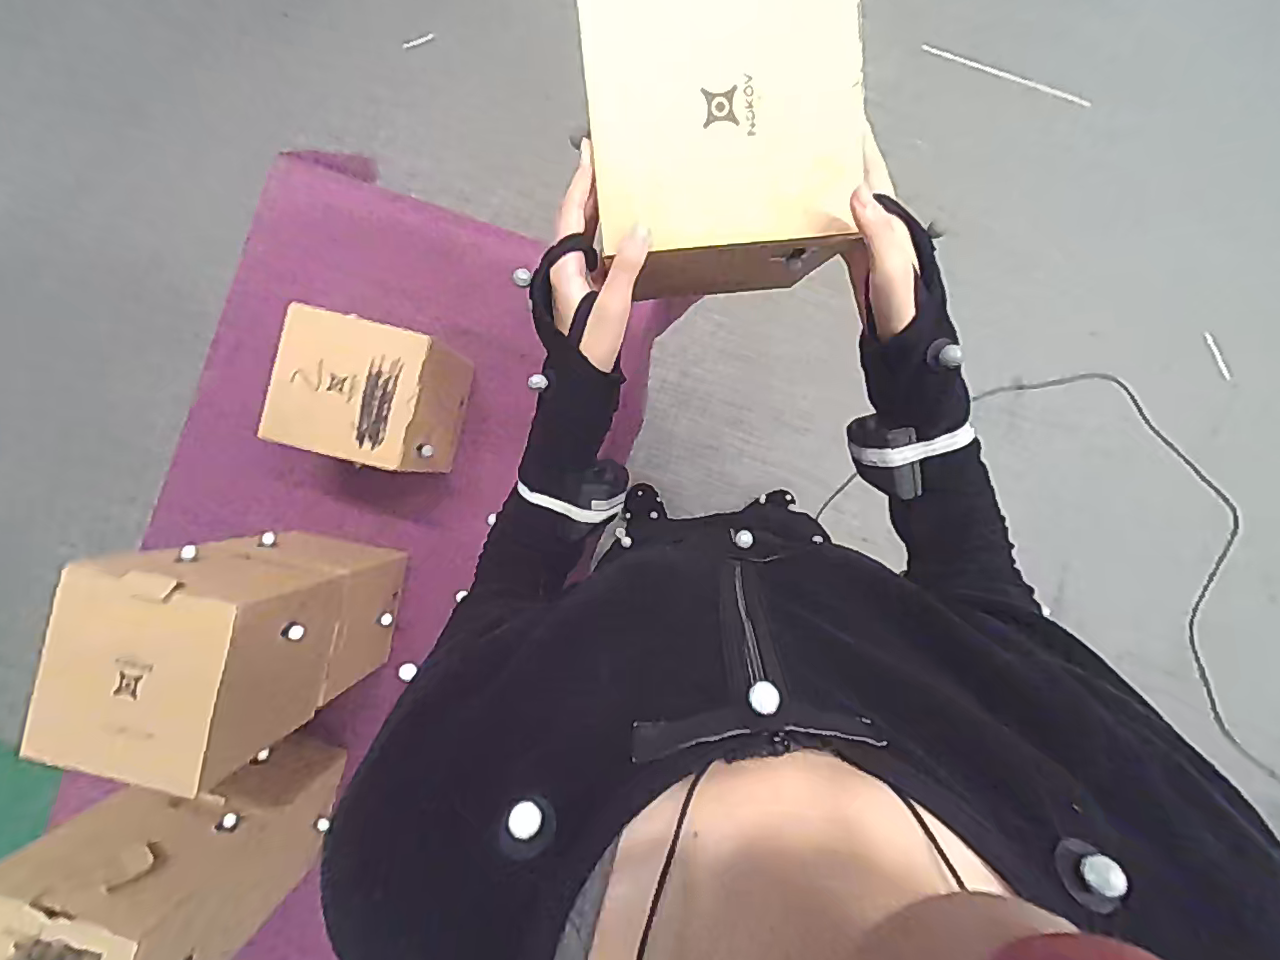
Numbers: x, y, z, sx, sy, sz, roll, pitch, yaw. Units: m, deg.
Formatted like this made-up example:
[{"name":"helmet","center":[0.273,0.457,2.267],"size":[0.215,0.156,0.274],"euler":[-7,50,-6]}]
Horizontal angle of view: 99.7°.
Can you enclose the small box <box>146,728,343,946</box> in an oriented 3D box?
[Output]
[{"name":"small box","center":[-0.536,0.454,0.728],"size":[0.168,0.176,0.179],"euler":[17,90,1]}]

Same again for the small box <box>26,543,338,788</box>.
[{"name":"small box","center":[-0.450,0.172,0.562],"size":[0.168,0.176,0.179],"euler":[13,91,2]}]

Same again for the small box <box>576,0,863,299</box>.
[{"name":"small box","center":[0.052,-0.244,0.421],"size":[0.179,0.176,0.168],"euler":[-5,99,-1]}]

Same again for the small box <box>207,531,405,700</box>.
[{"name":"small box","center":[-0.449,0.168,0.726],"size":[0.179,0.176,0.168],"euler":[12,91,0]}]

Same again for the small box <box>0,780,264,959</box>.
[{"name":"small box","center":[-0.539,0.454,0.563],"size":[0.168,0.176,0.179],"euler":[17,91,1]}]
